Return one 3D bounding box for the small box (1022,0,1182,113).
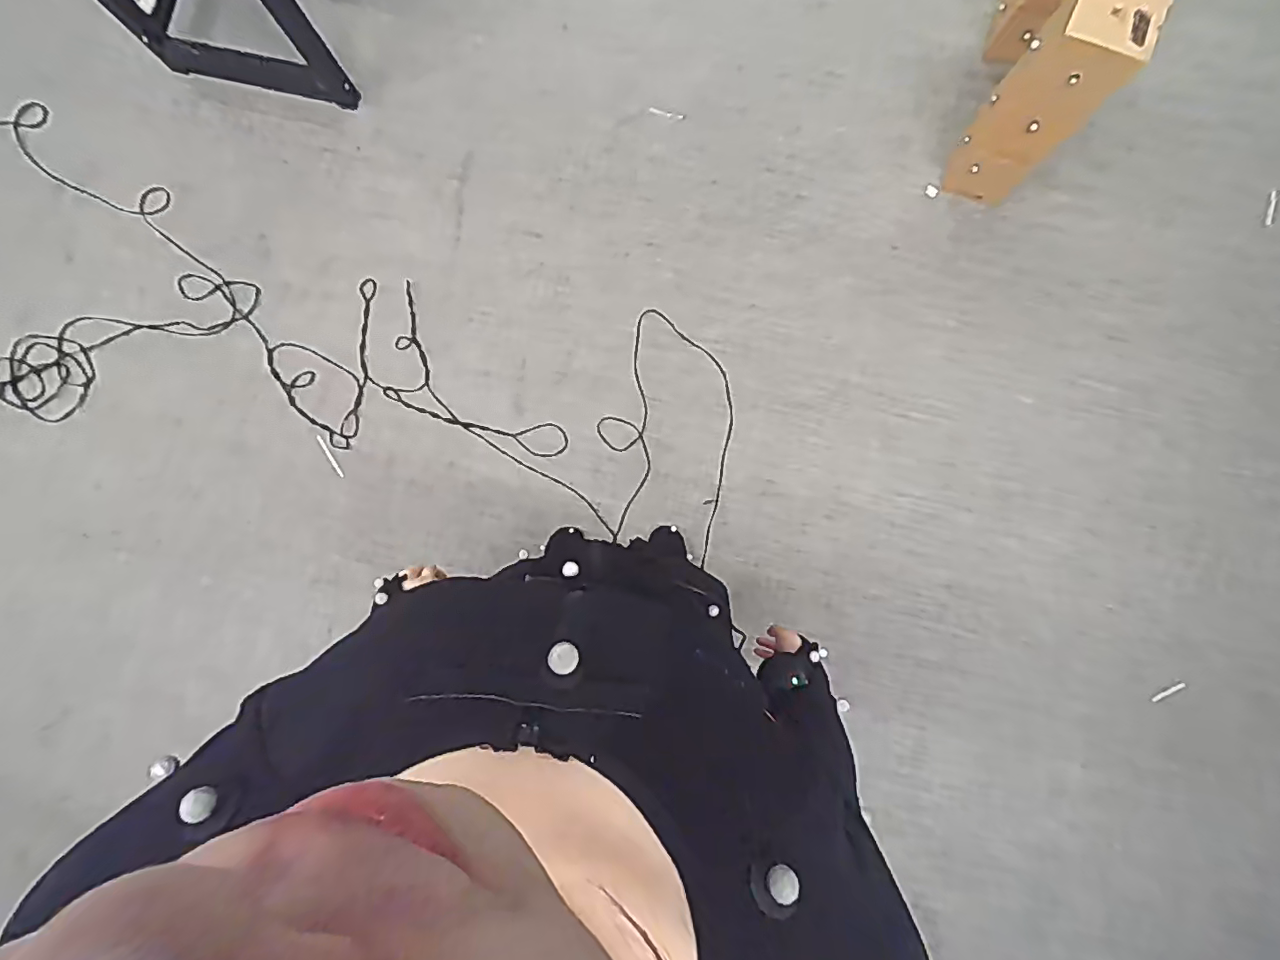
[{"bbox_3d":[0.966,-0.924,1.139,0.179,0.176,0.168,23,87,4],"label":"small box"}]

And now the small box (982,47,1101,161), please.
[{"bbox_3d":[0.978,-0.911,1.303,0.179,0.176,0.168,21,87,3],"label":"small box"}]

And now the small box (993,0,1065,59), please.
[{"bbox_3d":[1.118,-1.300,1.485,0.179,0.176,0.168,18,87,3],"label":"small box"}]
